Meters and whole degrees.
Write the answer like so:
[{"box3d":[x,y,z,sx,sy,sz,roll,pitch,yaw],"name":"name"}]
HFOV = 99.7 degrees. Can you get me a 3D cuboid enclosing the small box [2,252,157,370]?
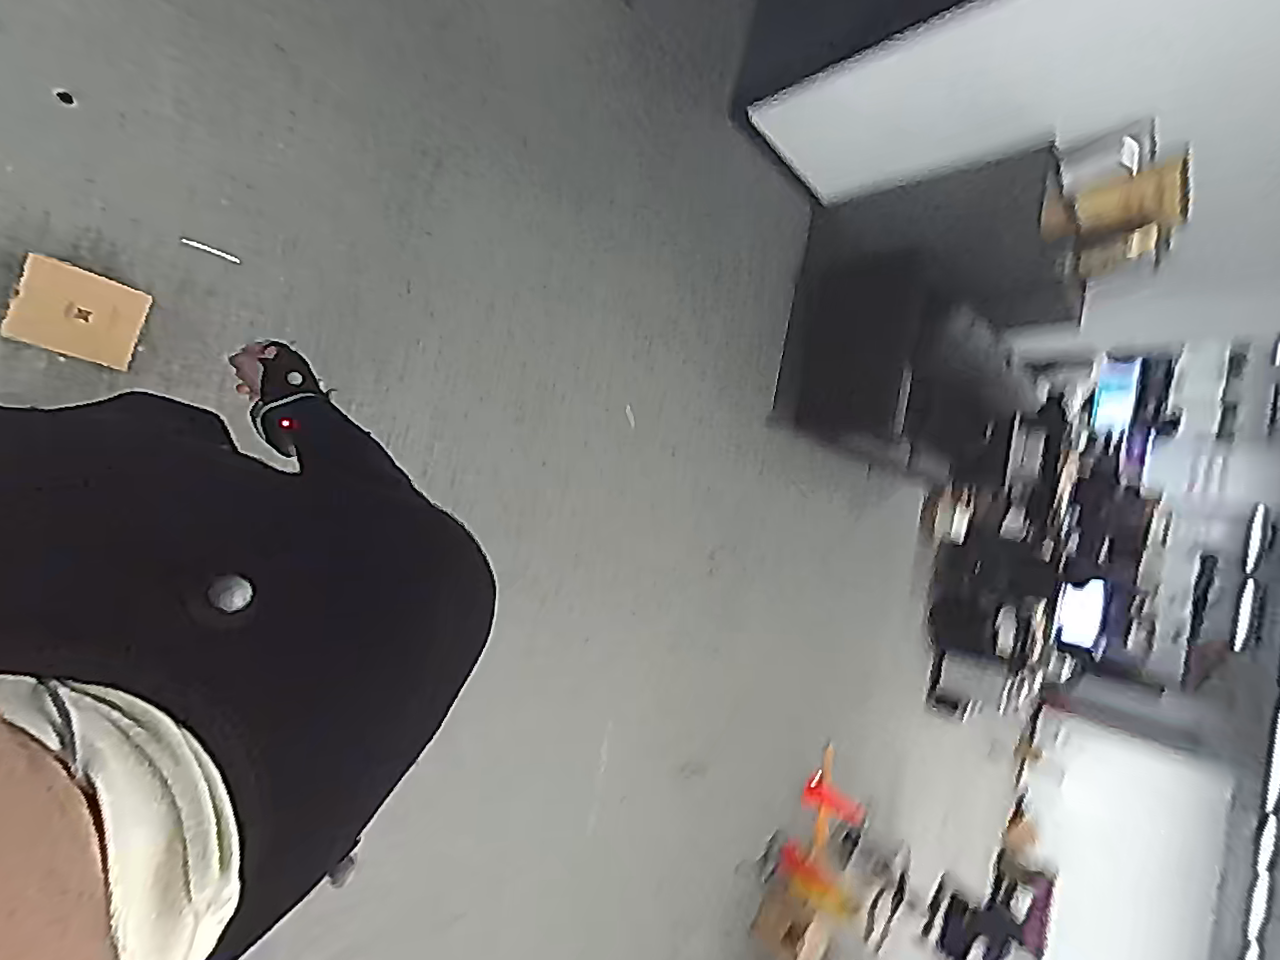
[{"box3d":[-1.124,-0.328,1.096,0.179,0.176,0.168,21,82,-44],"name":"small box"}]
